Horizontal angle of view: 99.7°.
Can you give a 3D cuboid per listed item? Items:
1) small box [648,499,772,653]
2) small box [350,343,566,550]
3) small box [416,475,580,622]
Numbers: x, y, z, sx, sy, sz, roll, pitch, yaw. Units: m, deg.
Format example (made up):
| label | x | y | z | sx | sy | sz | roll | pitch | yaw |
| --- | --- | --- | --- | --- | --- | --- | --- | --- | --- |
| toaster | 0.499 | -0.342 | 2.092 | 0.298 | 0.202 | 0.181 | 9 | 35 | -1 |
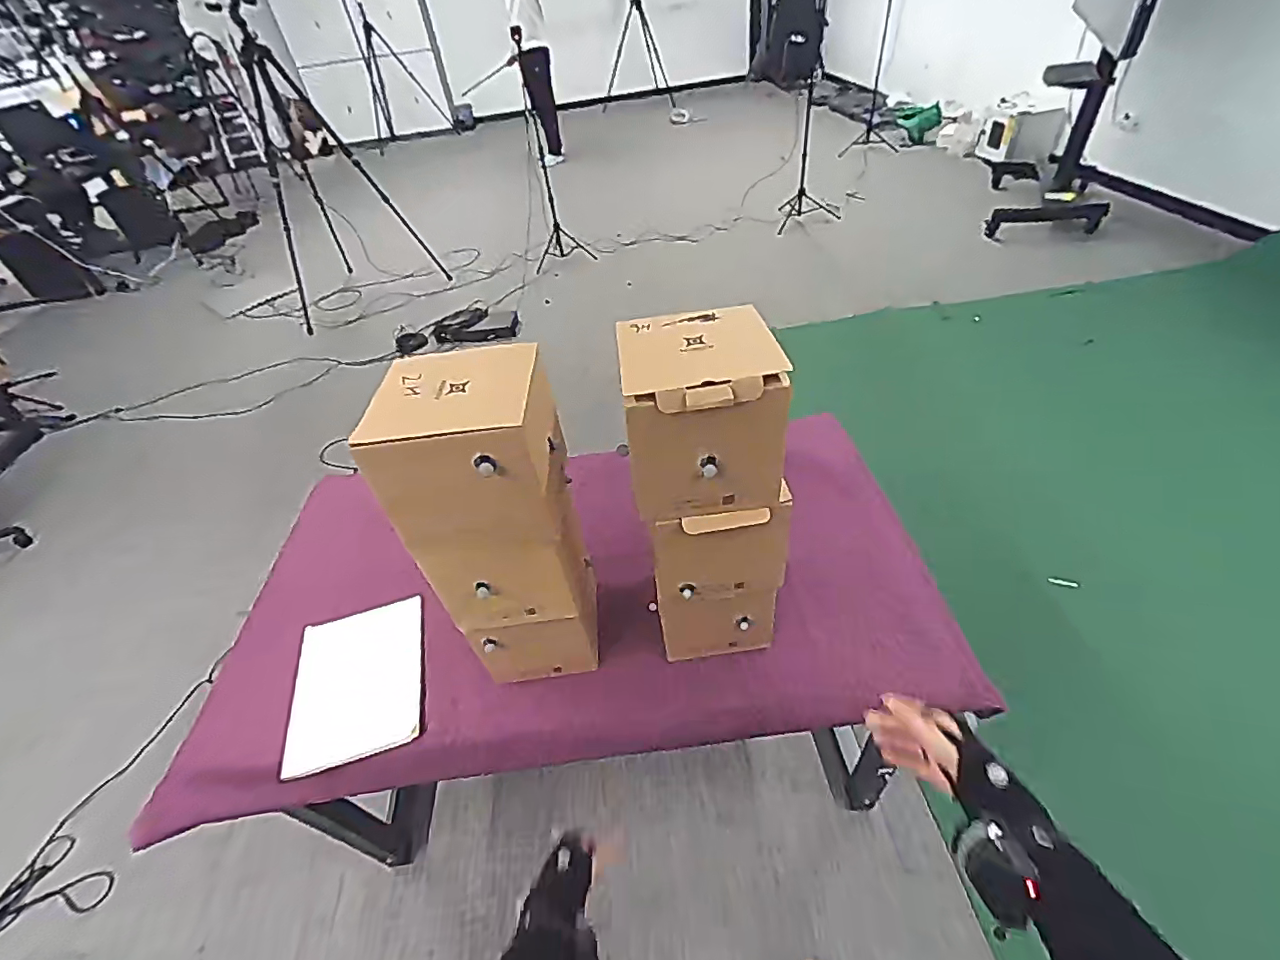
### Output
| label | x | y | z | sx | sy | sz | roll | pitch | yaw |
| --- | --- | --- | --- | --- | --- | --- | --- | --- | --- |
| small box | 0.107 | 0.157 | 0.857 | 0.168 | 0.176 | 0.179 | -7 | 42 | 0 |
| small box | -0.188 | -0.037 | 0.627 | 0.179 | 0.176 | 0.168 | -6 | 42 | 3 |
| small box | -0.179 | 0.080 | 0.744 | 0.168 | 0.176 | 0.179 | -8 | 42 | 1 |
